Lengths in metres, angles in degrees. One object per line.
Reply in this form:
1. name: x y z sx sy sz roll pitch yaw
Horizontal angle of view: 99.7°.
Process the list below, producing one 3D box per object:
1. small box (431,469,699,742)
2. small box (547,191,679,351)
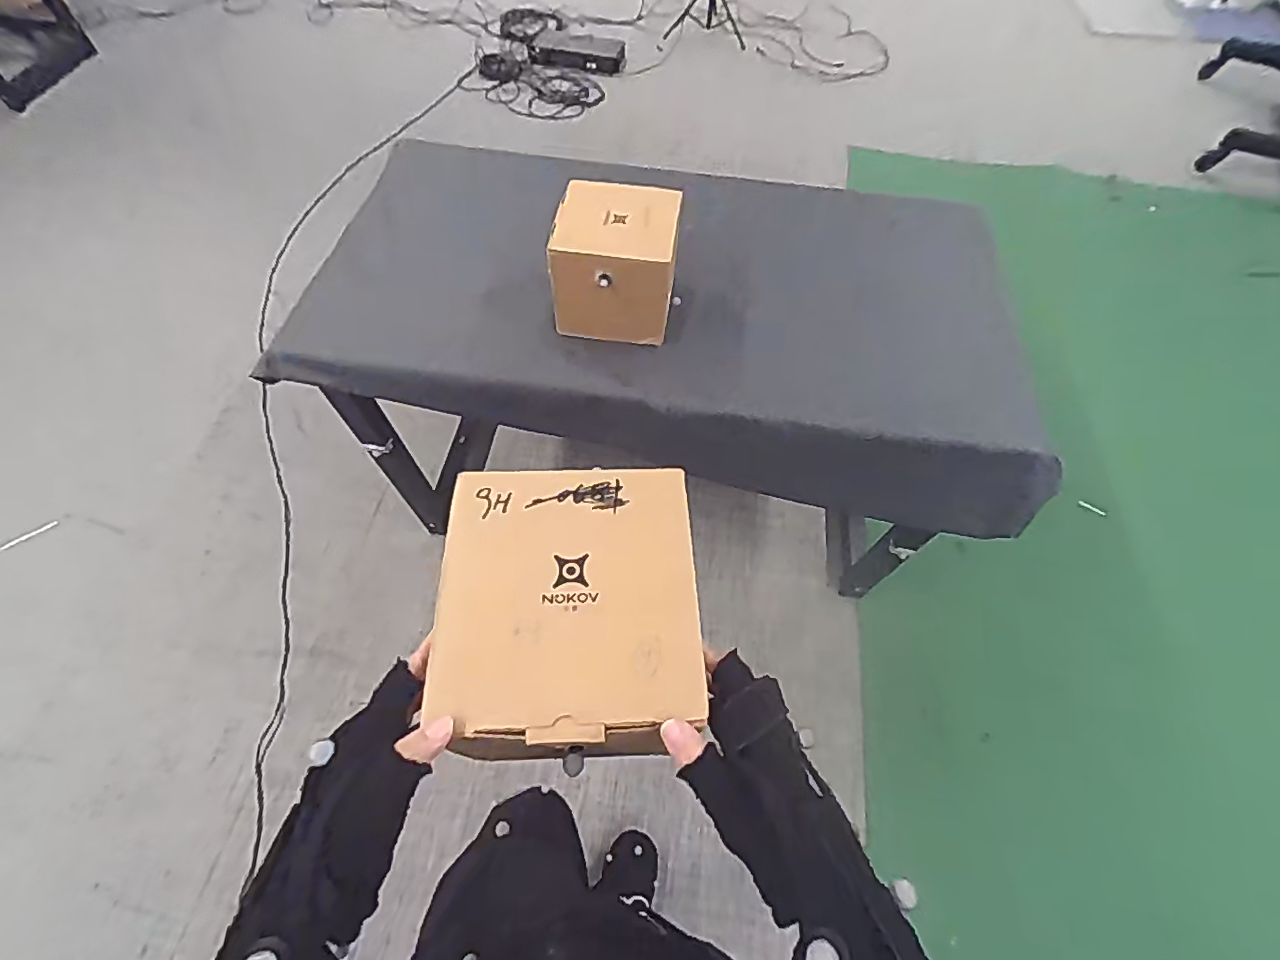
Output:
1. small box: -0.050 0.108 0.433 0.168 0.176 0.179 -1 59 -4
2. small box: -0.039 -0.329 0.867 0.179 0.176 0.168 7 61 1
